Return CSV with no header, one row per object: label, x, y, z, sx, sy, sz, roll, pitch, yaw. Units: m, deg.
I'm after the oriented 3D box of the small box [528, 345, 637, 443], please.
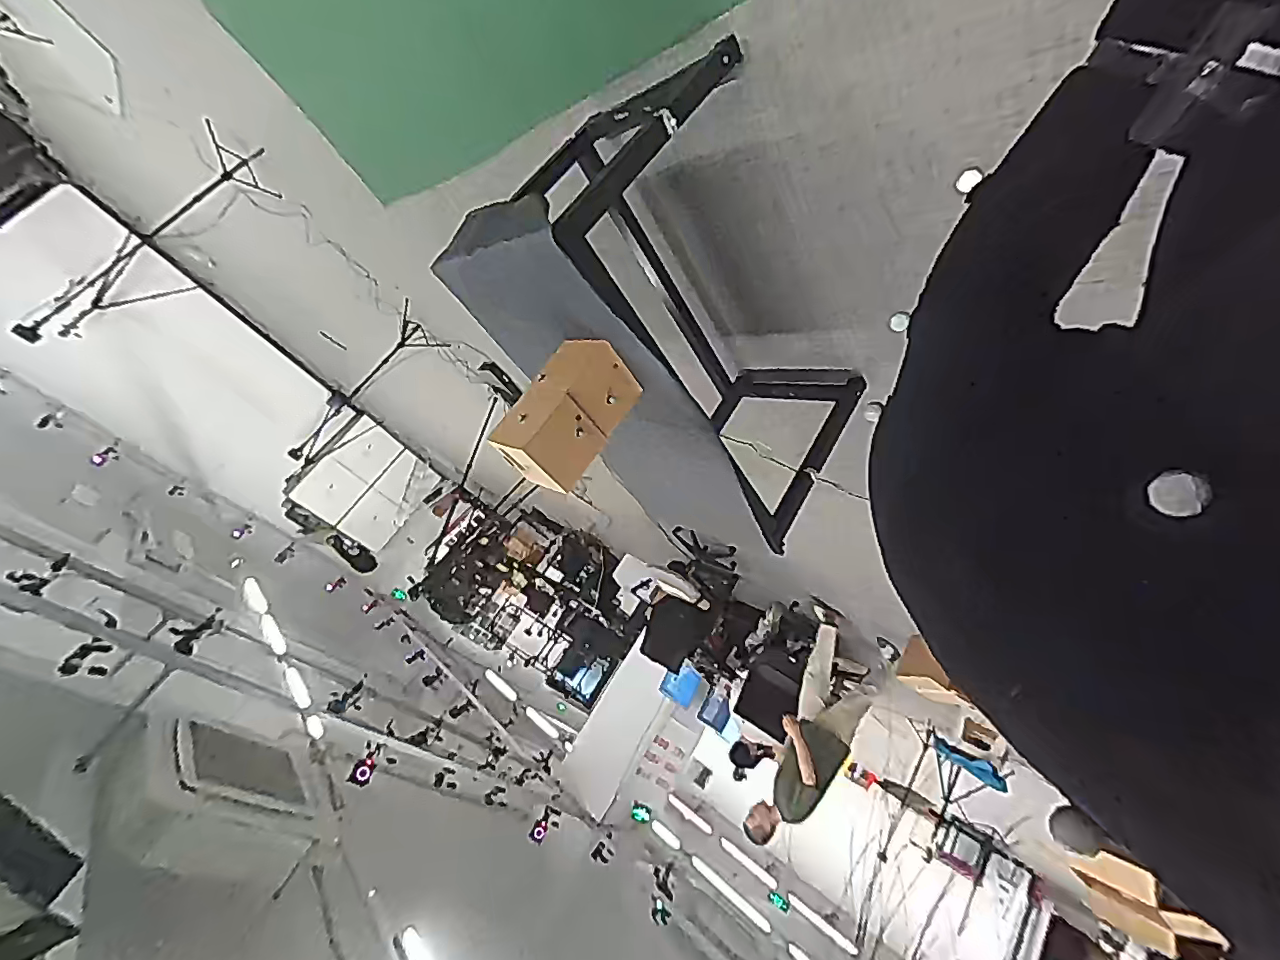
small box,-0.131,-0.214,1.321,0.179,0.176,0.168,16,154,47
